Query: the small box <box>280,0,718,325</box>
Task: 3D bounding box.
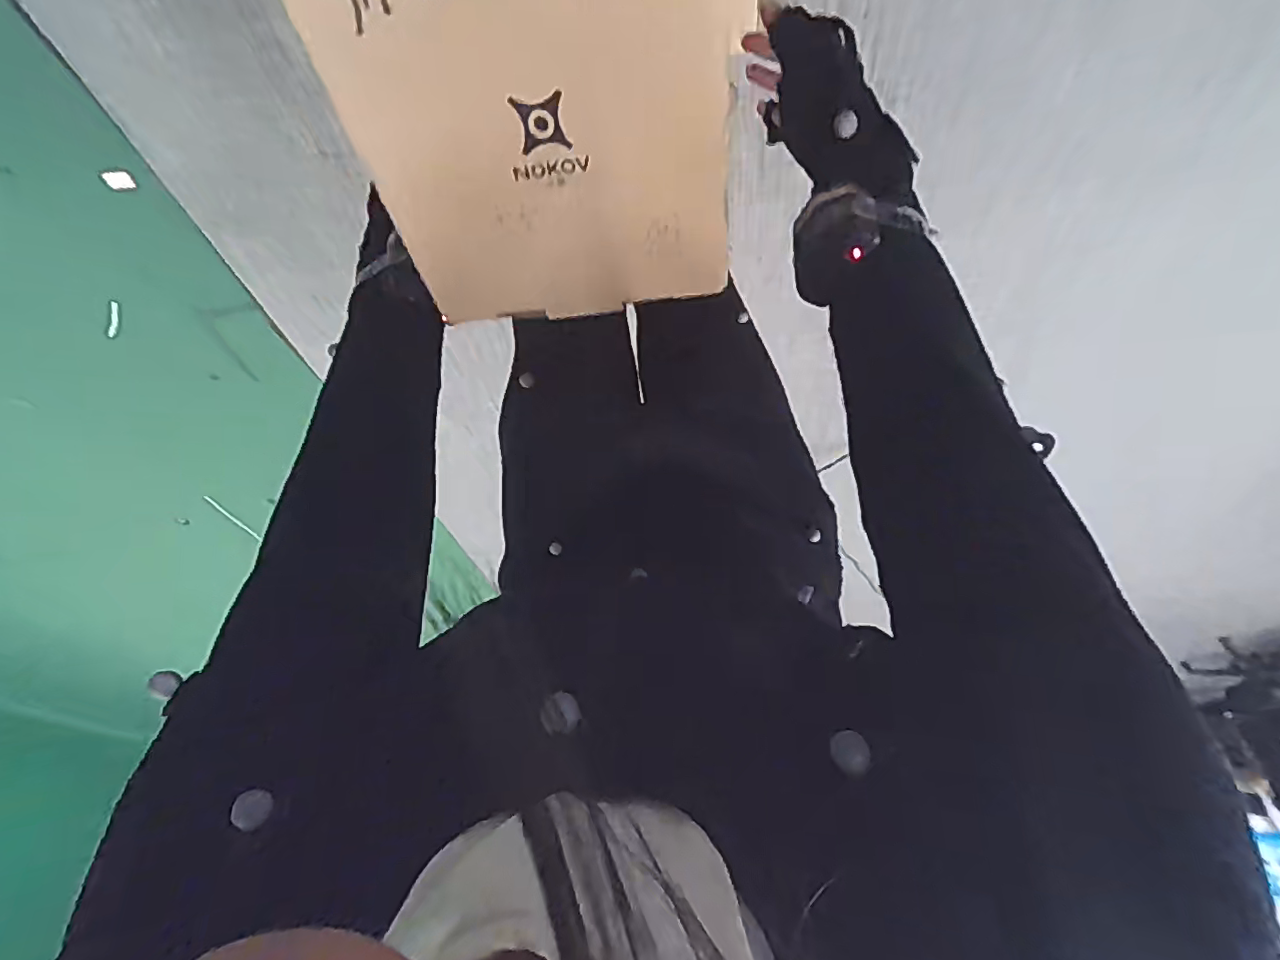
[{"bbox_3d":[-0.047,-0.213,0.294,0.168,0.176,0.179,-5,144,5],"label":"small box"}]
